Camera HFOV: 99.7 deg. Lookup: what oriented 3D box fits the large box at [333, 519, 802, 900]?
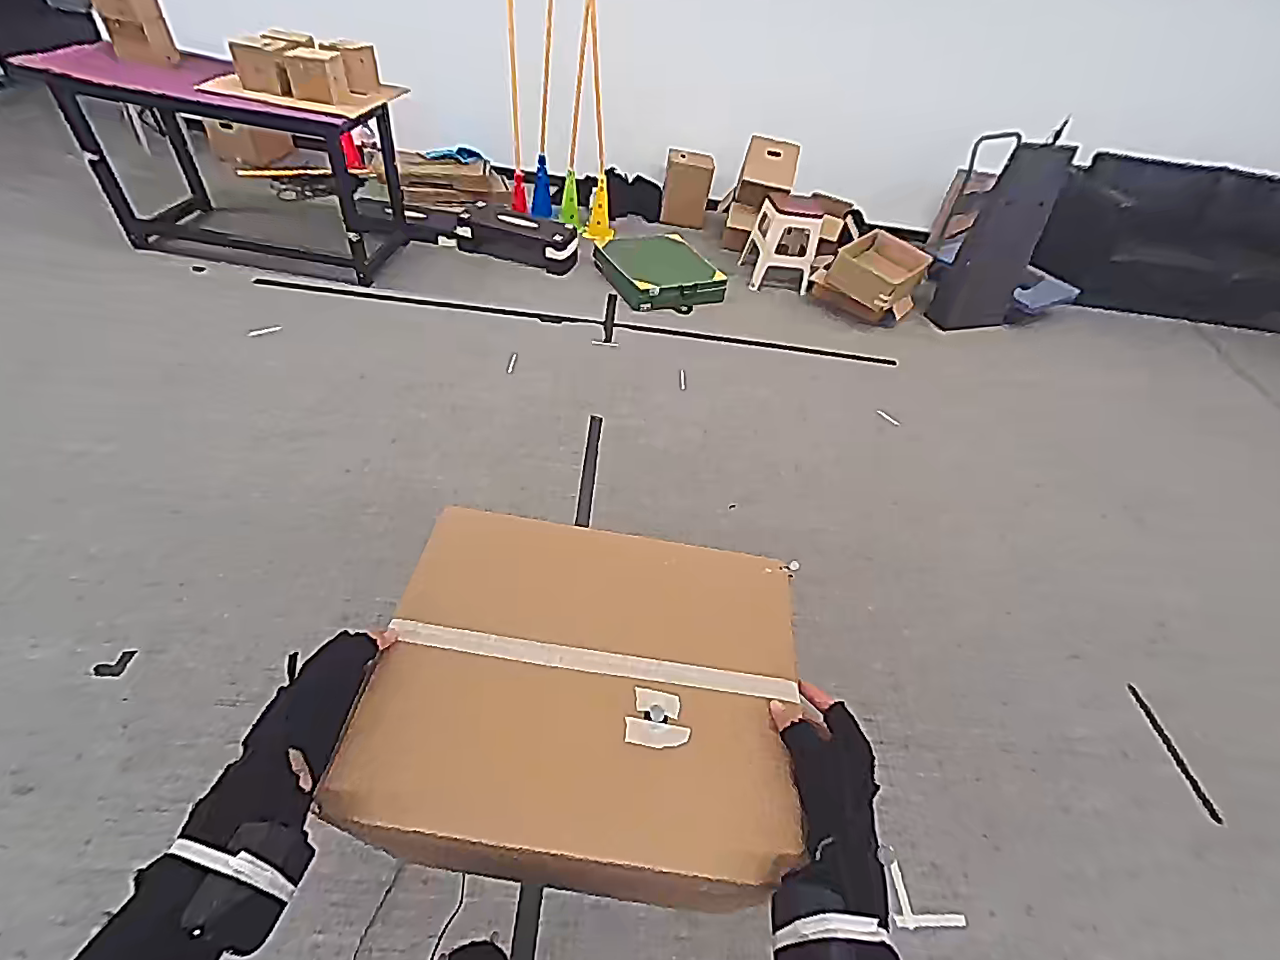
[{"bbox_3d":[-0.063,0.283,0.655,0.408,0.320,0.320,9,50,-1],"label":"large box"}]
